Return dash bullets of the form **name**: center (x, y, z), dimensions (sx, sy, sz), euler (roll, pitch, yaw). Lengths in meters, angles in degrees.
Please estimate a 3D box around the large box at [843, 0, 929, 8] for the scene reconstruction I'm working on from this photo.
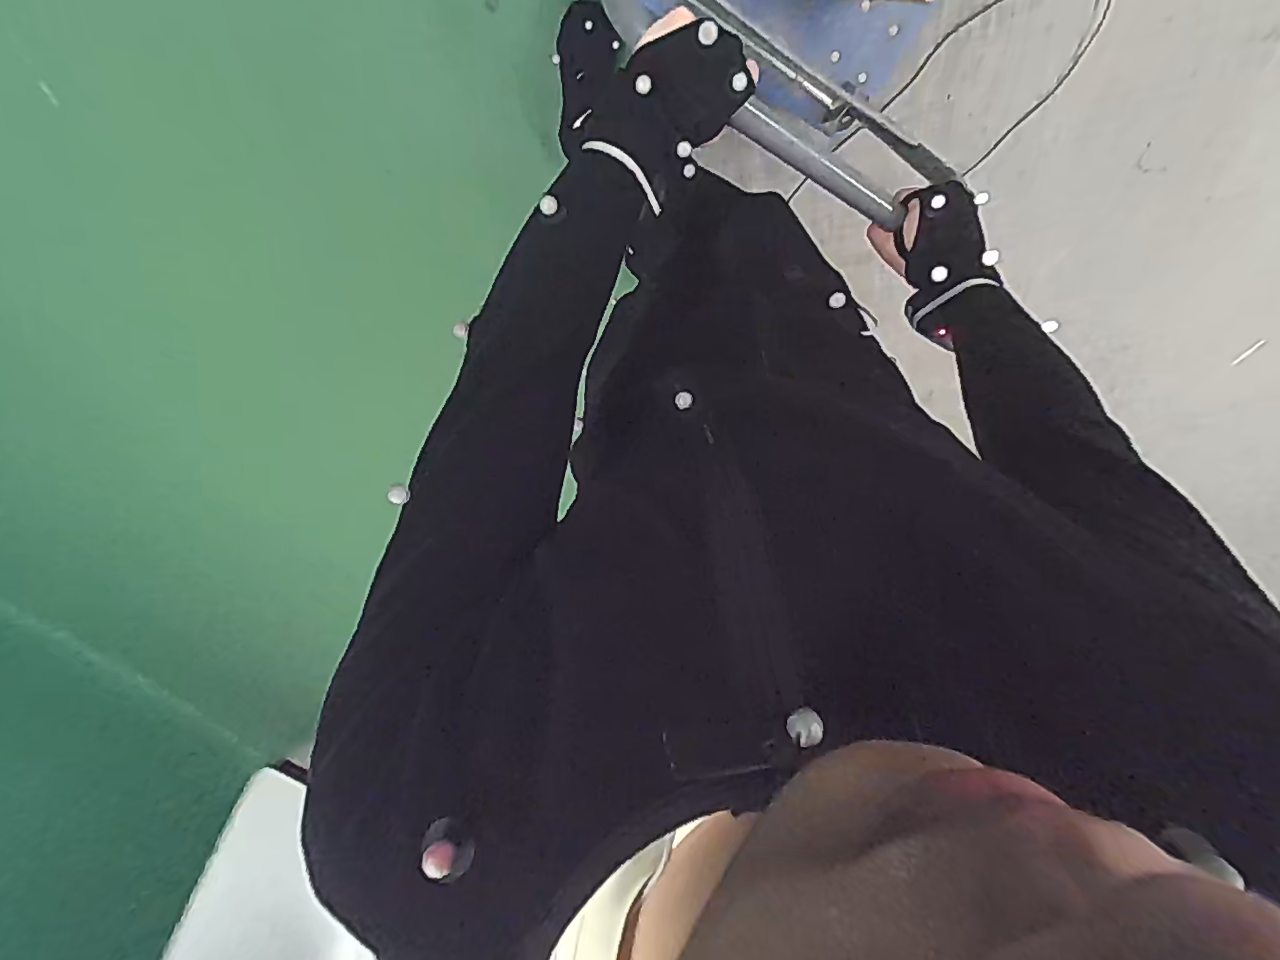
- **large box**: center (0.329, -0.926, 0.696), dimensions (0.320, 0.320, 0.408), euler (18, 129, -19)
